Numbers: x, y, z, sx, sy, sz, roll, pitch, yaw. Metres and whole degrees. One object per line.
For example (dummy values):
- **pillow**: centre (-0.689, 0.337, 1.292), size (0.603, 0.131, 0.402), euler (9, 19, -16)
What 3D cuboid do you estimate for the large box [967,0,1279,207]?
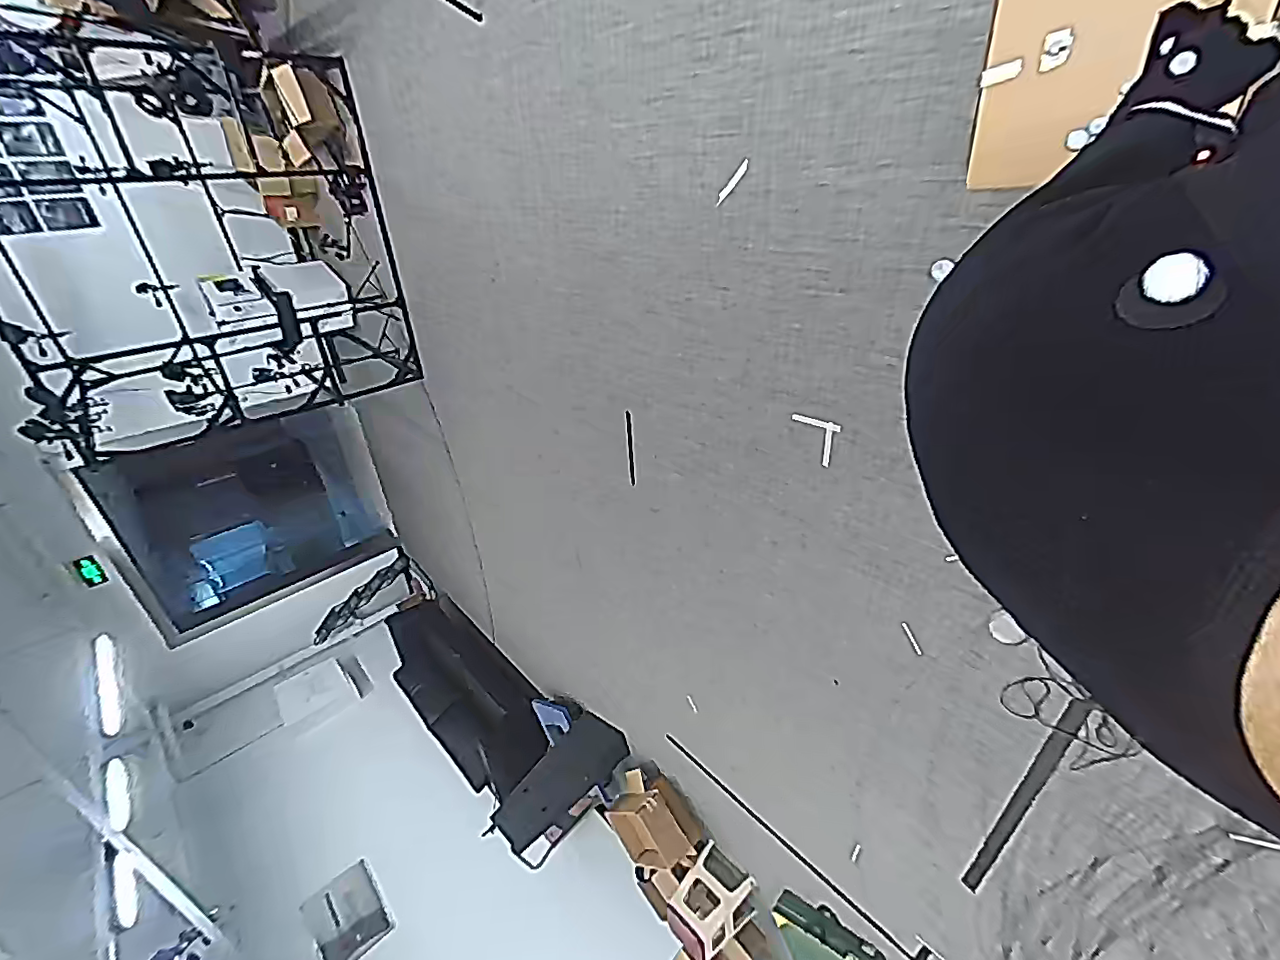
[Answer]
- **large box**: centre (0.787, -0.643, 0.875), size (0.320, 0.408, 0.320), euler (24, 131, 41)
